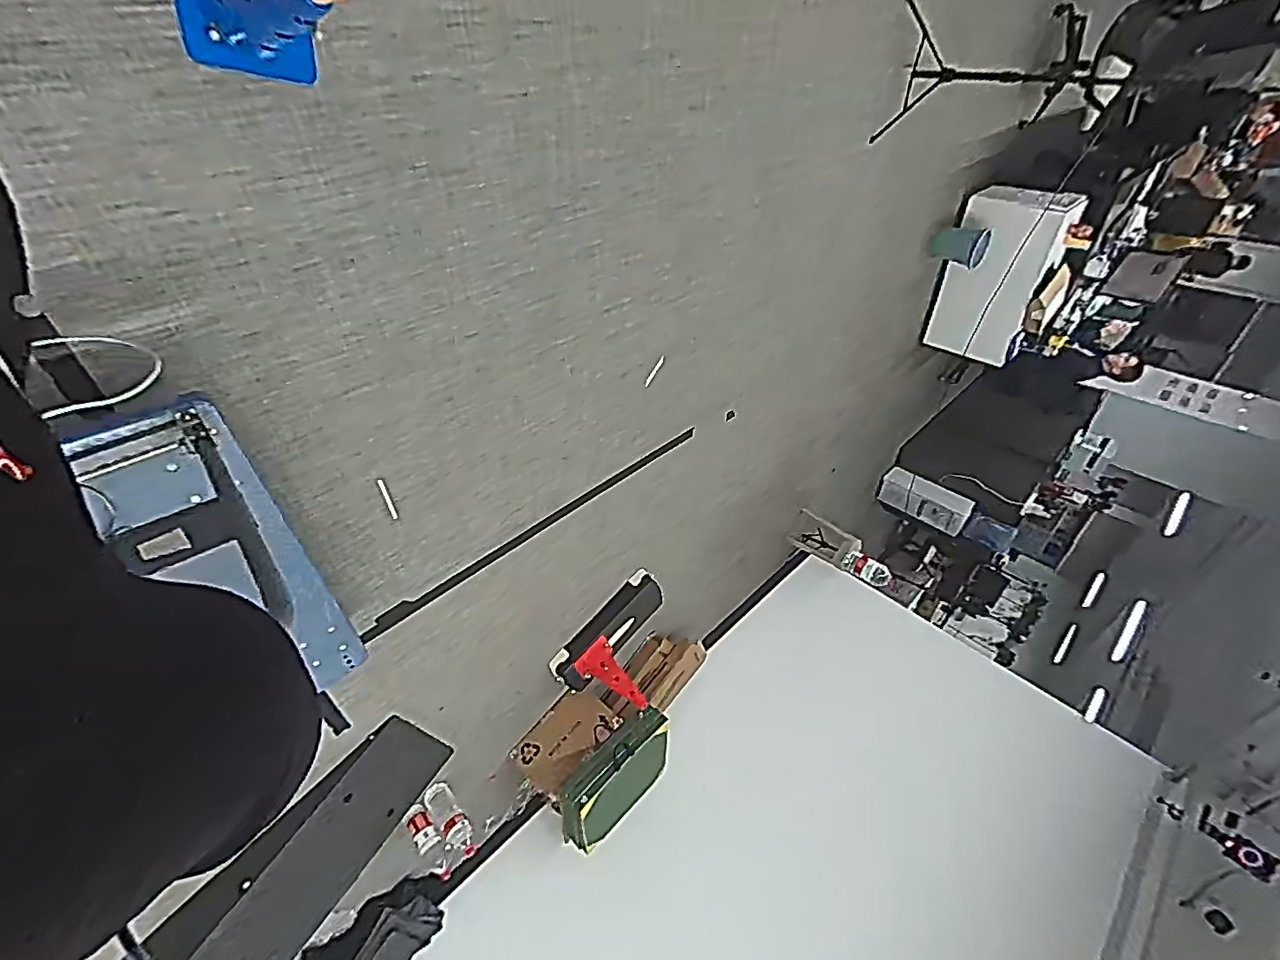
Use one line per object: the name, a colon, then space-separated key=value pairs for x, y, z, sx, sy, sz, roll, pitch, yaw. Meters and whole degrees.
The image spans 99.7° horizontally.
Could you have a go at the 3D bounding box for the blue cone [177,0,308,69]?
blue cone: x=-0.553 y=-0.743 z=0.809 sx=0.193 sy=0.380 sz=0.192 roll=-19 pitch=130 yaw=-42
